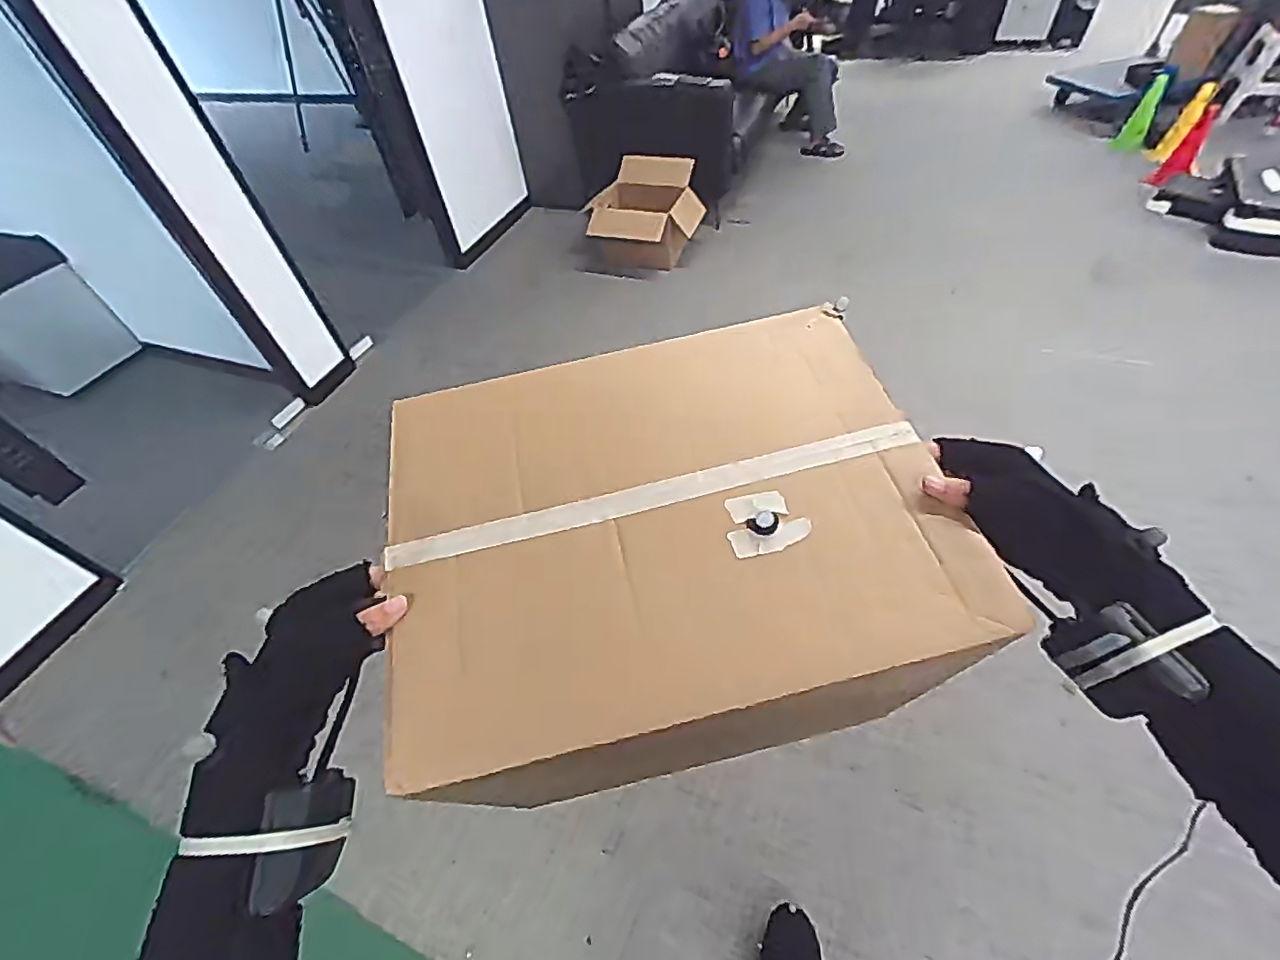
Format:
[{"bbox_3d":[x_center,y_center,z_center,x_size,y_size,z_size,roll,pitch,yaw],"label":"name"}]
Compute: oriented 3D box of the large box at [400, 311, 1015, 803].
[{"bbox_3d":[0.025,0.090,0.535,0.408,0.320,0.320,-13,58,-4],"label":"large box"}]
